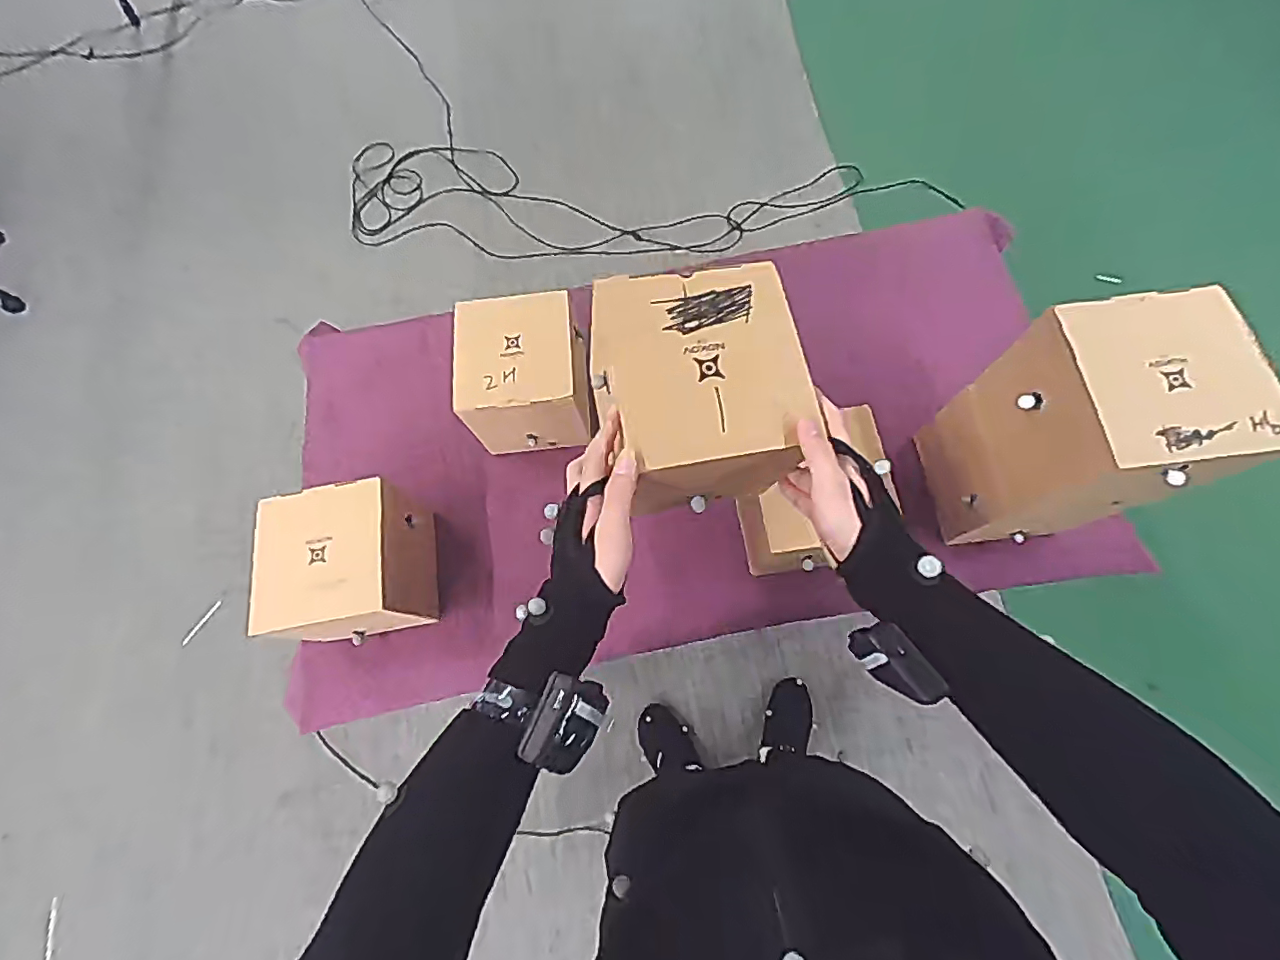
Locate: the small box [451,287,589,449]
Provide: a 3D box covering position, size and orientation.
[{"bbox_3d":[-0.173,-0.163,0.822,0.168,0.176,0.179,-5,72,2],"label":"small box"}]

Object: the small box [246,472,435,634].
[{"bbox_3d":[-0.397,0.108,0.748,0.168,0.176,0.179,-10,71,1],"label":"small box"}]

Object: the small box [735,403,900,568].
[{"bbox_3d":[0.223,0.019,0.740,0.168,0.176,0.179,-8,70,1],"label":"small box"}]

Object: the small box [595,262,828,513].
[{"bbox_3d":[0.050,-0.079,0.522,0.168,0.176,0.179,-9,76,-8],"label":"small box"}]

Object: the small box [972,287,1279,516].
[{"bbox_3d":[0.493,-0.073,0.576,0.168,0.176,0.179,-6,71,3],"label":"small box"}]
